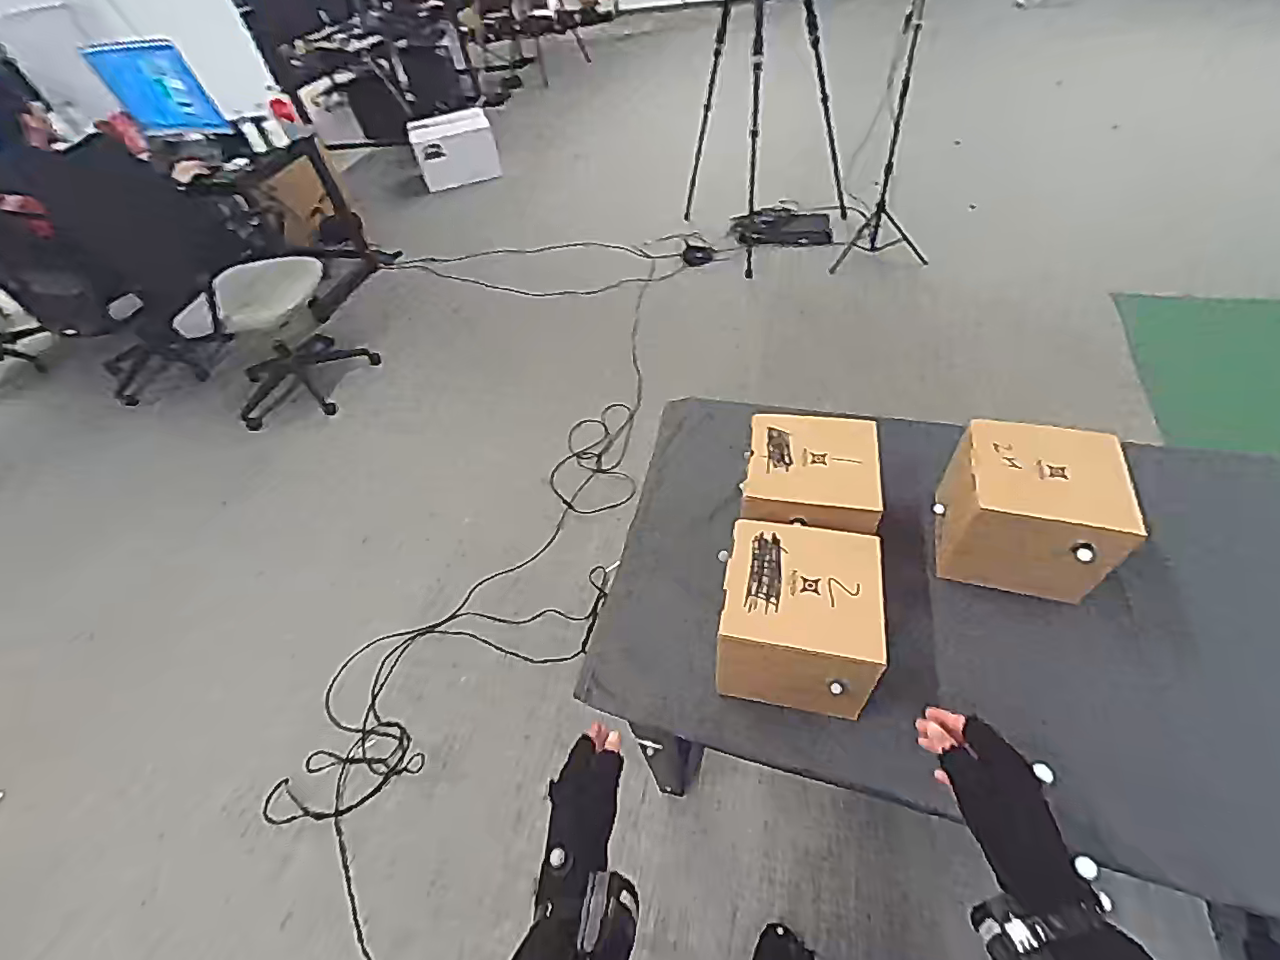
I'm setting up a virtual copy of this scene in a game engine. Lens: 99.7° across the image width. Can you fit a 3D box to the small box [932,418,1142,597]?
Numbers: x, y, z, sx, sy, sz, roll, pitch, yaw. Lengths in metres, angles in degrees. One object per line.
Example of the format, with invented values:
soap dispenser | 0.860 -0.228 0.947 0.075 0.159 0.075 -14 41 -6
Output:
small box | 0.522 0.041 0.742 0.179 0.176 0.168 10 52 17
